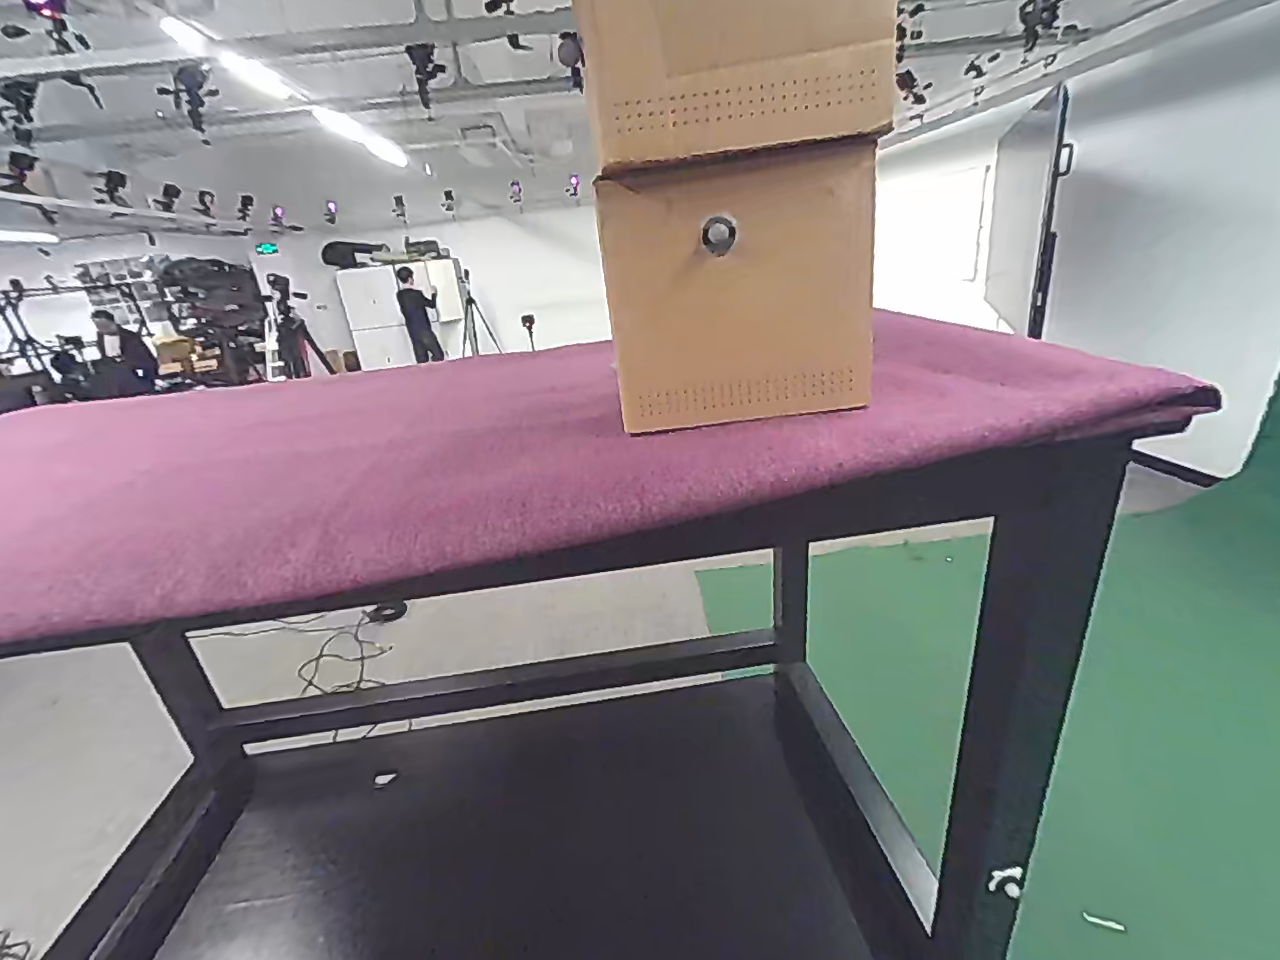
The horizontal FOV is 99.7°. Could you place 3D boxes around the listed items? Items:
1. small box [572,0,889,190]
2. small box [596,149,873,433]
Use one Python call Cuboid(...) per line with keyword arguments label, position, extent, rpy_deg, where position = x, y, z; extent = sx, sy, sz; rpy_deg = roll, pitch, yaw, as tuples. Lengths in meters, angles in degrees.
Cuboid(label="small box", position=(0.049, -0.286, 0.360), extent=(0.179, 0.176, 0.168), rpy_deg=(-8, 21, -1))
Cuboid(label="small box", position=(0.069, -0.141, 0.432), extent=(0.179, 0.176, 0.168), rpy_deg=(-6, 21, 3))
